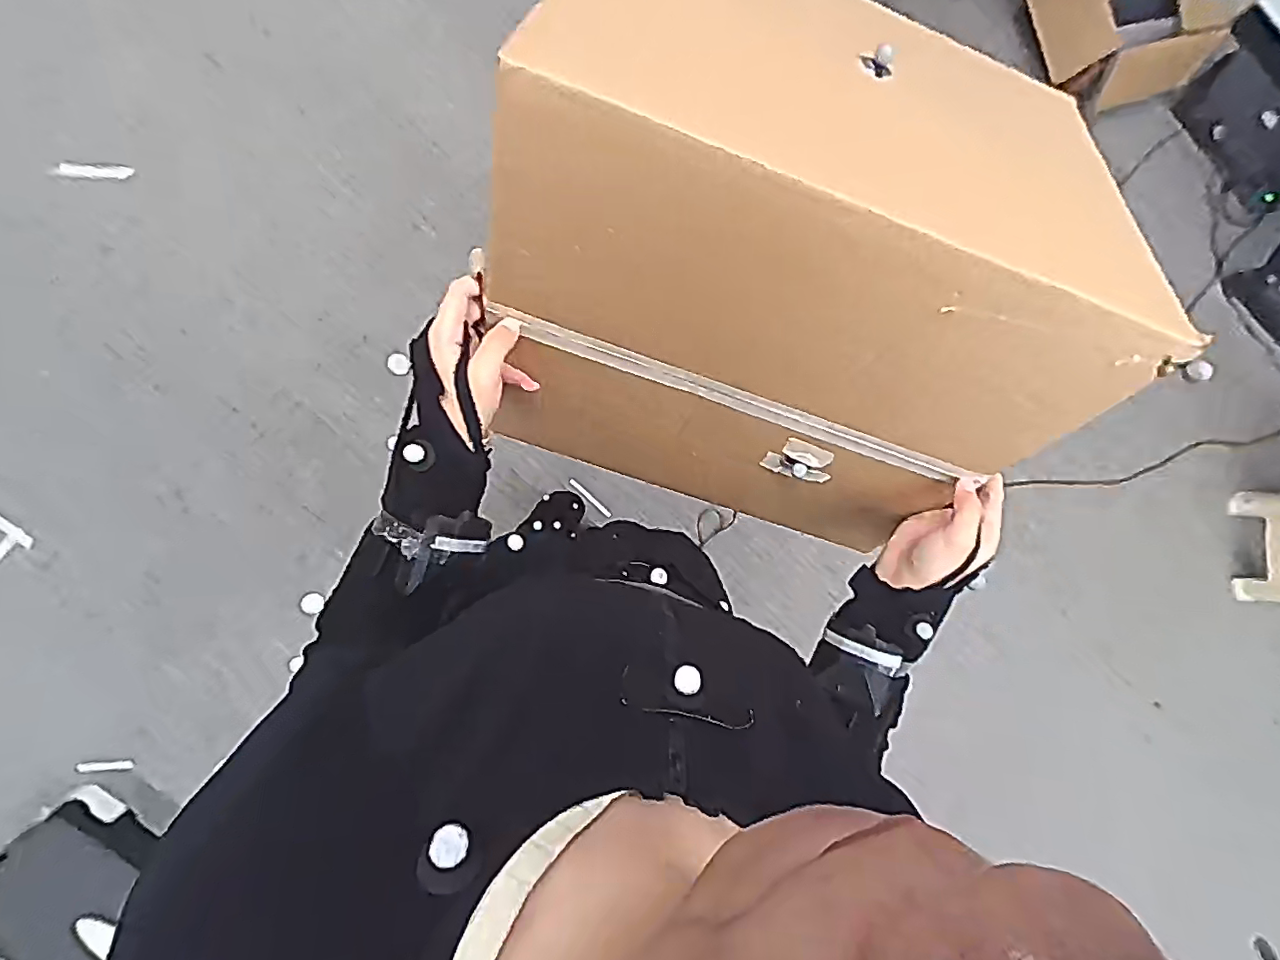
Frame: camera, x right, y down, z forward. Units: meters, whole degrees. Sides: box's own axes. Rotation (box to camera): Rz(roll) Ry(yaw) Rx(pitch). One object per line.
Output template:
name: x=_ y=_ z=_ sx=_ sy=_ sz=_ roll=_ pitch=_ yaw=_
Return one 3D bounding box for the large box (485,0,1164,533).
large box: x=0.101 y=-0.194 z=0.492 sx=0.408 sy=0.320 sz=0.320 roll=16 pitch=59 yaw=-7
